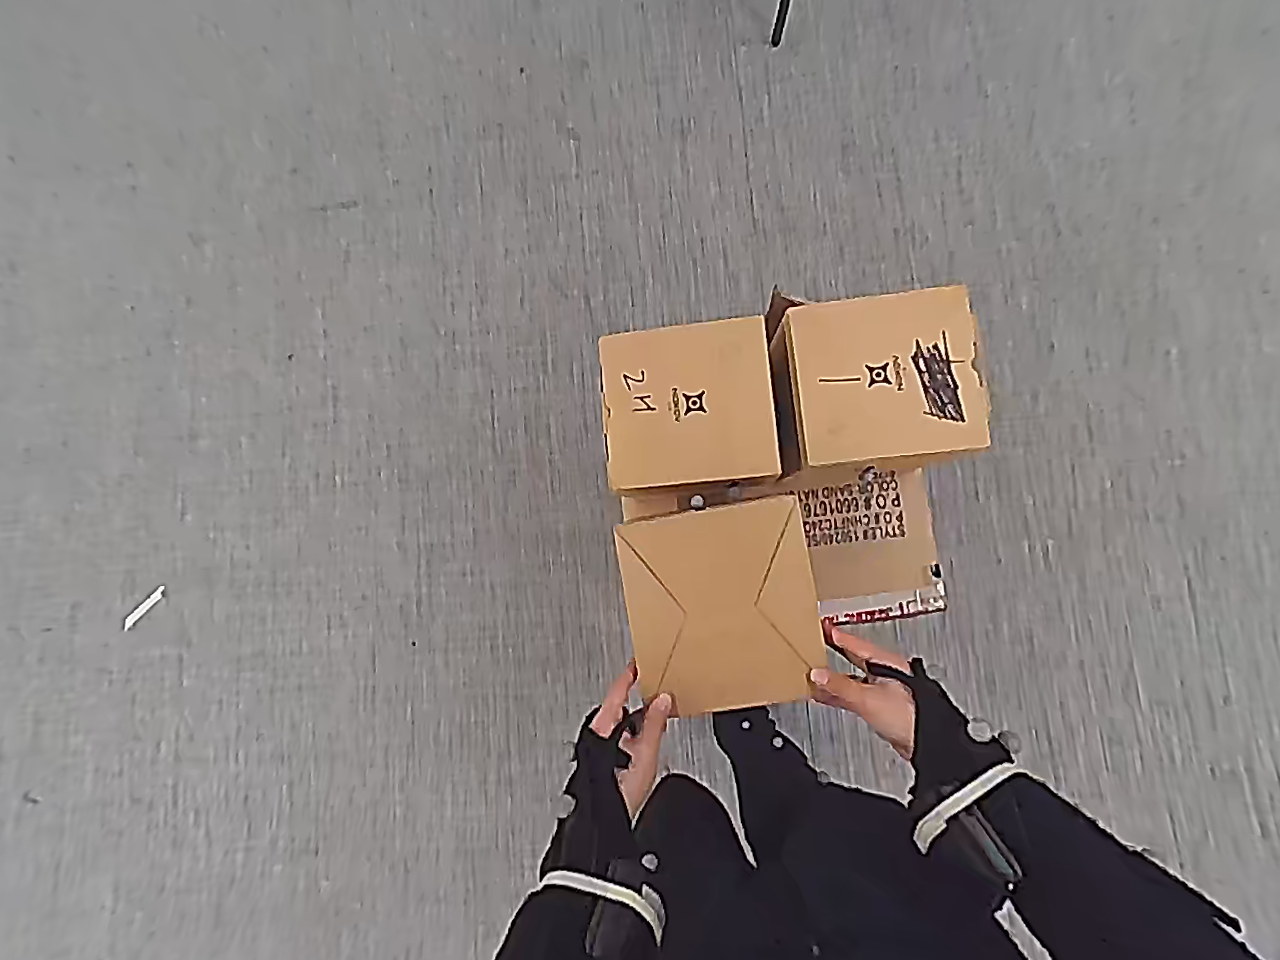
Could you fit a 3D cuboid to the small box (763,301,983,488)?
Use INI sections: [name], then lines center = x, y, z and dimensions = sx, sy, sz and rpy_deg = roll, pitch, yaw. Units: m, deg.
[small box]
center = 0.248, -0.084, 0.618
dimensions = 0.179, 0.176, 0.168
rpy_deg = -6, 84, 5
